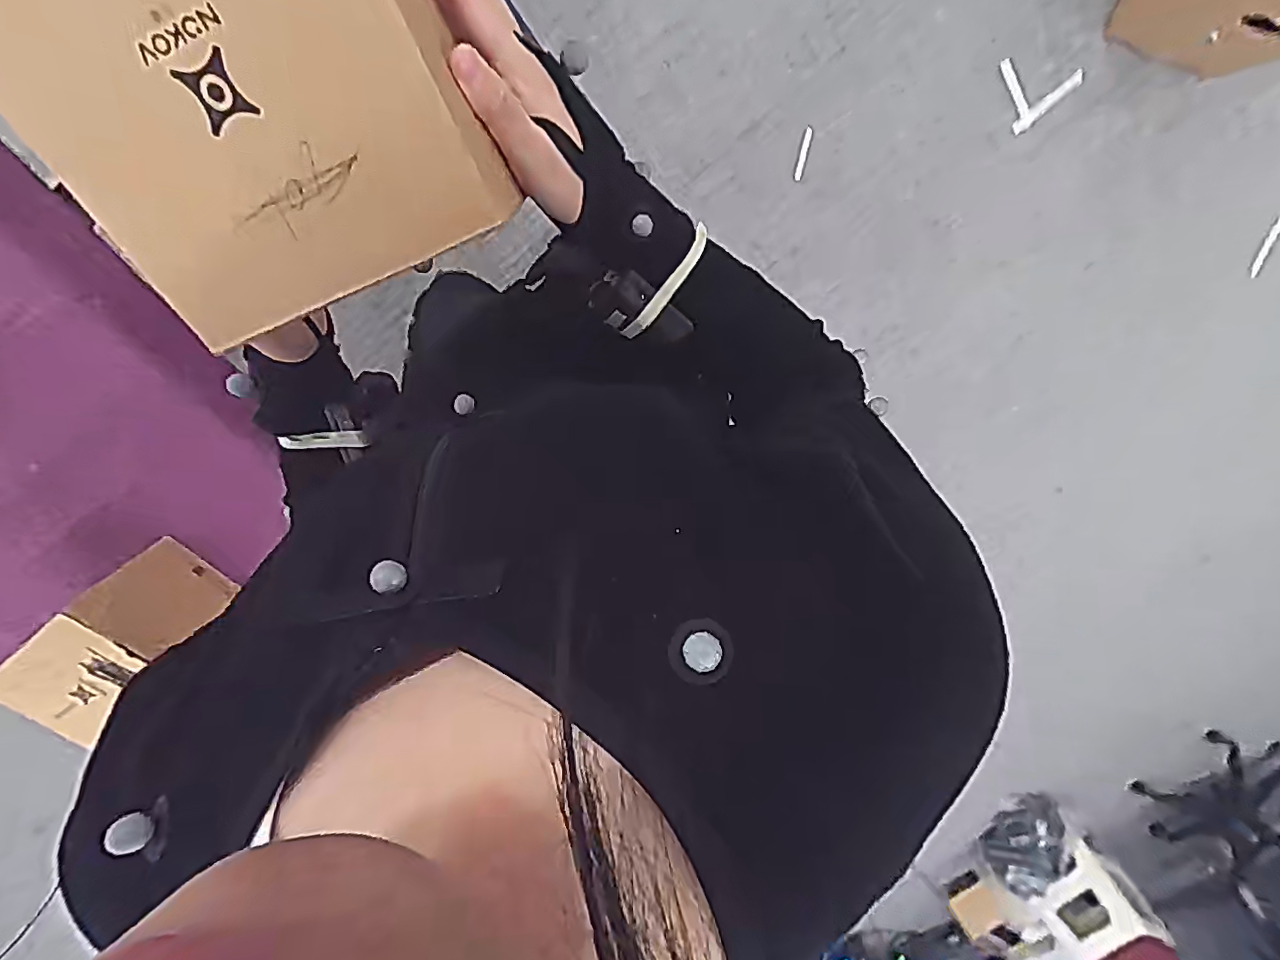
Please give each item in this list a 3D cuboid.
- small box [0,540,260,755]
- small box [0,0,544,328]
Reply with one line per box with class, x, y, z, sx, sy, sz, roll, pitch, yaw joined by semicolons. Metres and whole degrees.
small box;-0.652;0.211;0.712;0.179;0.176;0.168;-36;112;12
small box;-0.162;-0.209;0.272;0.168;0.176;0.179;-18;125;10
